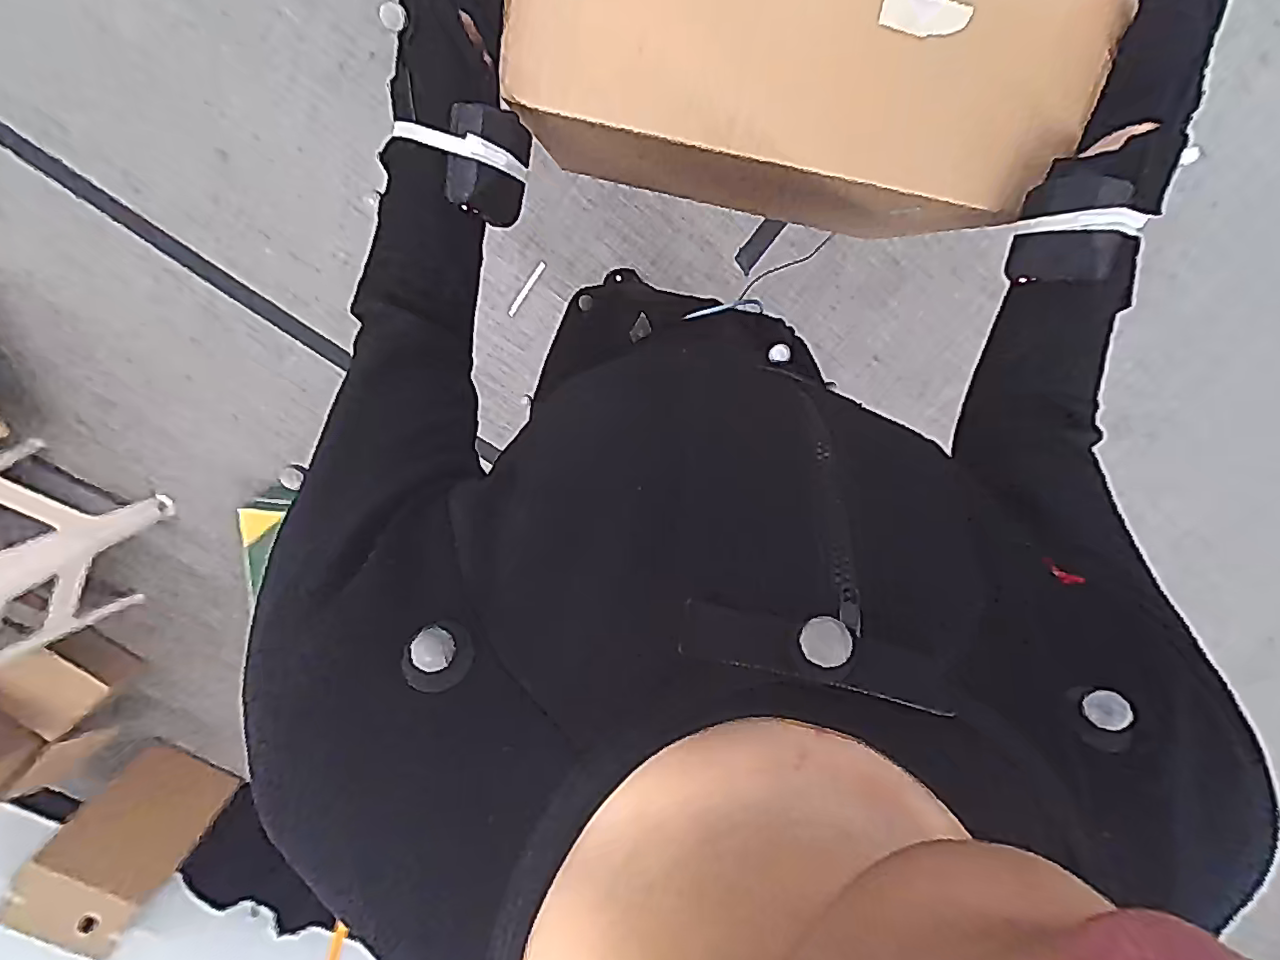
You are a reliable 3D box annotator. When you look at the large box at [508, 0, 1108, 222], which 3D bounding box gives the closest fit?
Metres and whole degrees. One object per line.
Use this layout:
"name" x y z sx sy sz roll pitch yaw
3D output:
"large box" 0.121 -0.436 0.476 0.408 0.320 0.320 9 113 -5
